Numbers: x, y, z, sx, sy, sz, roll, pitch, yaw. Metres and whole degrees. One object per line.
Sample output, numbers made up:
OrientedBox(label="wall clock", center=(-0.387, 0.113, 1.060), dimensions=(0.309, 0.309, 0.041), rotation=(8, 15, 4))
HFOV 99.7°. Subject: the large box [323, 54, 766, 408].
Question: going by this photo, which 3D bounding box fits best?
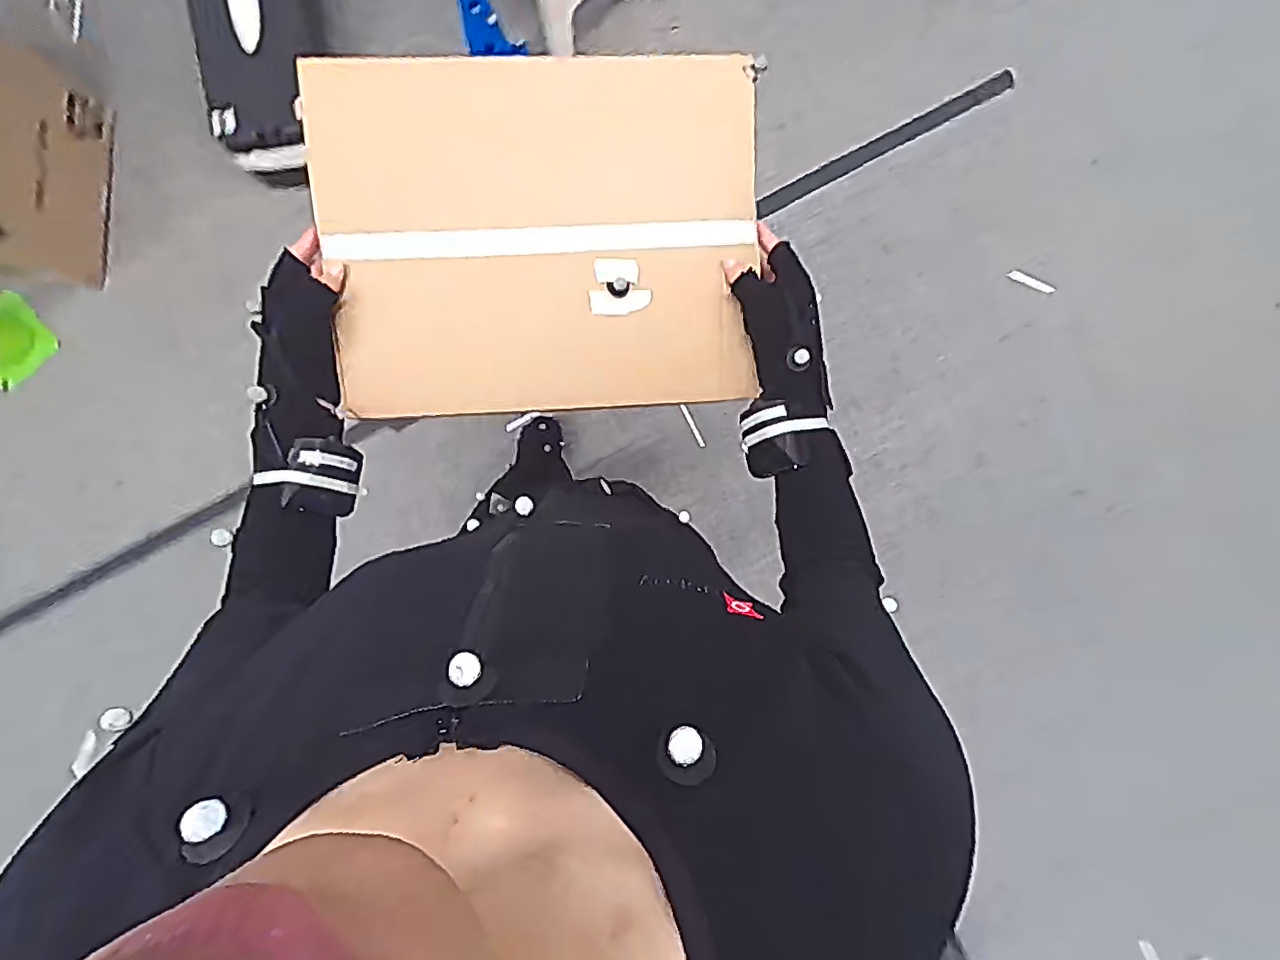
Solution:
OrientedBox(label="large box", center=(-0.091, -0.255, 0.659), dimensions=(0.408, 0.320, 0.320), rotation=(-3, 99, -5))
